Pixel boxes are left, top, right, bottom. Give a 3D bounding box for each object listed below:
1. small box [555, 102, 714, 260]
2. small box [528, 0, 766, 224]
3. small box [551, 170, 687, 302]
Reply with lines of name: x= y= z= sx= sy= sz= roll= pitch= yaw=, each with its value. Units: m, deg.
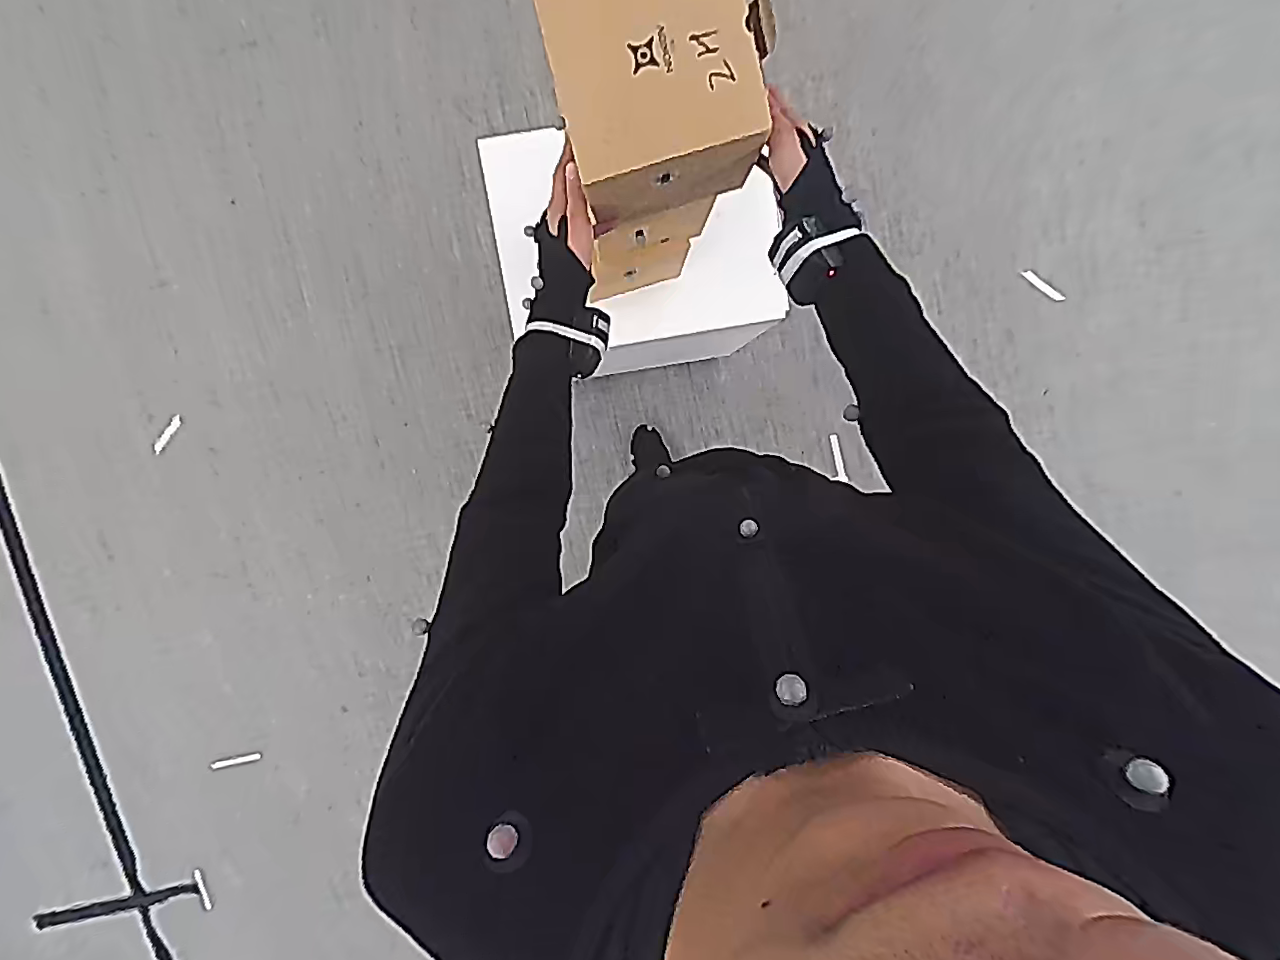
small box: x=-0.007 y=-0.423 z=0.745 sx=0.168 sy=0.176 sz=0.179 roll=-16 pitch=95 yaw=0
small box: x=0.010 y=-0.377 z=0.538 sx=0.179 sy=0.176 sz=0.168 roll=-14 pitch=102 yaw=4
small box: x=-0.033 y=-0.416 z=0.908 sx=0.179 sy=0.176 sz=0.168 roll=-17 pitch=96 yaw=-1
